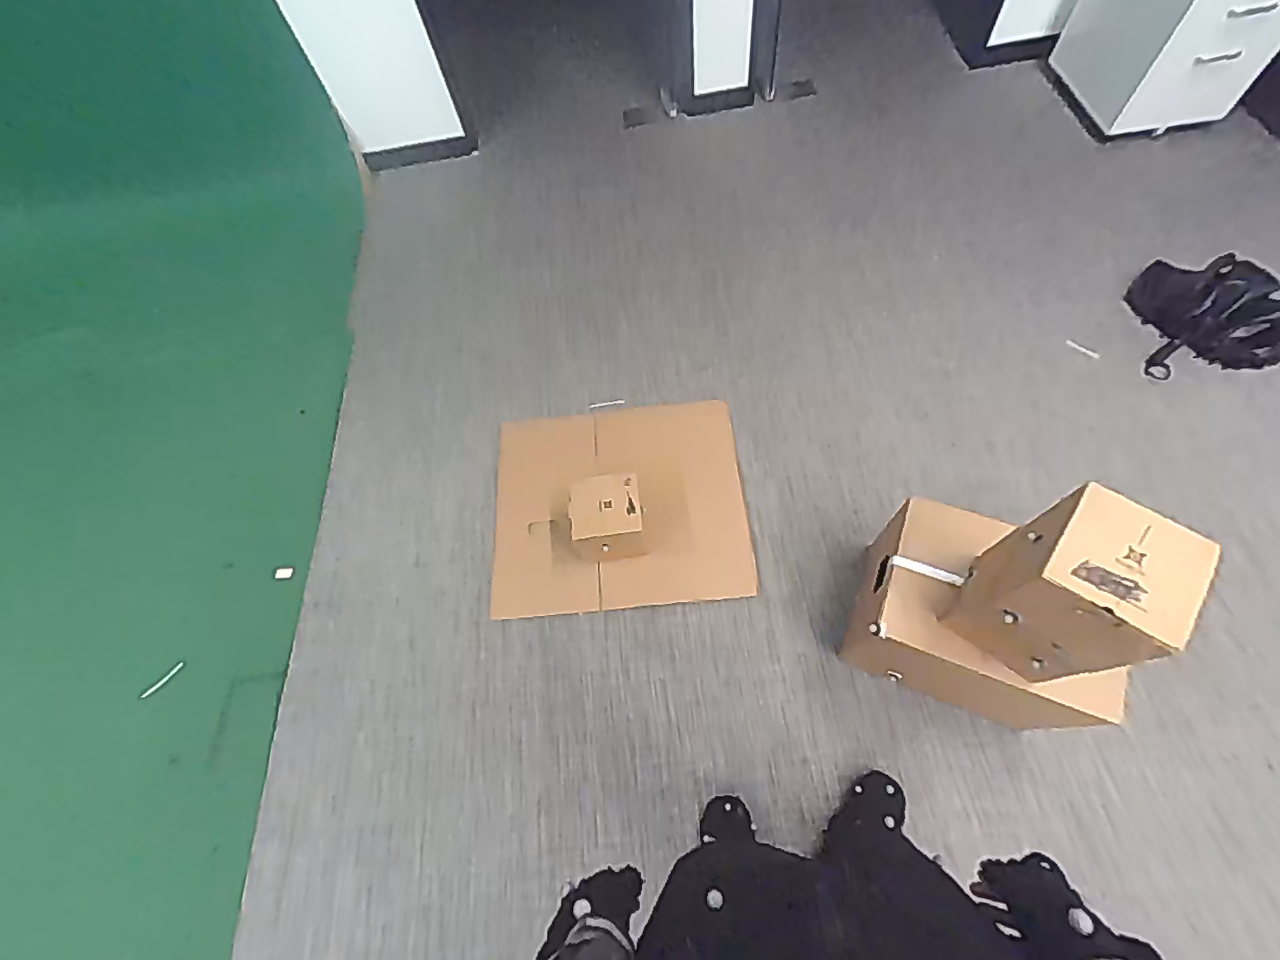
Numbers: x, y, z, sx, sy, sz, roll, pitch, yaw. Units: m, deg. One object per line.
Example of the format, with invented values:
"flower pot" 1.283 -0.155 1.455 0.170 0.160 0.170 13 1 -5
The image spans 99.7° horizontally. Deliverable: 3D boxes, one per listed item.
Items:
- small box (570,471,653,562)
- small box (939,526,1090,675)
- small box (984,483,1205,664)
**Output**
"small box" -0.072 0.102 1.407 0.179 0.176 0.168 -11 60 3
"small box" 0.659 0.215 0.930 0.179 0.176 0.168 34 70 22
"small box" 0.638 0.142 0.783 0.168 0.176 0.179 31 71 20
